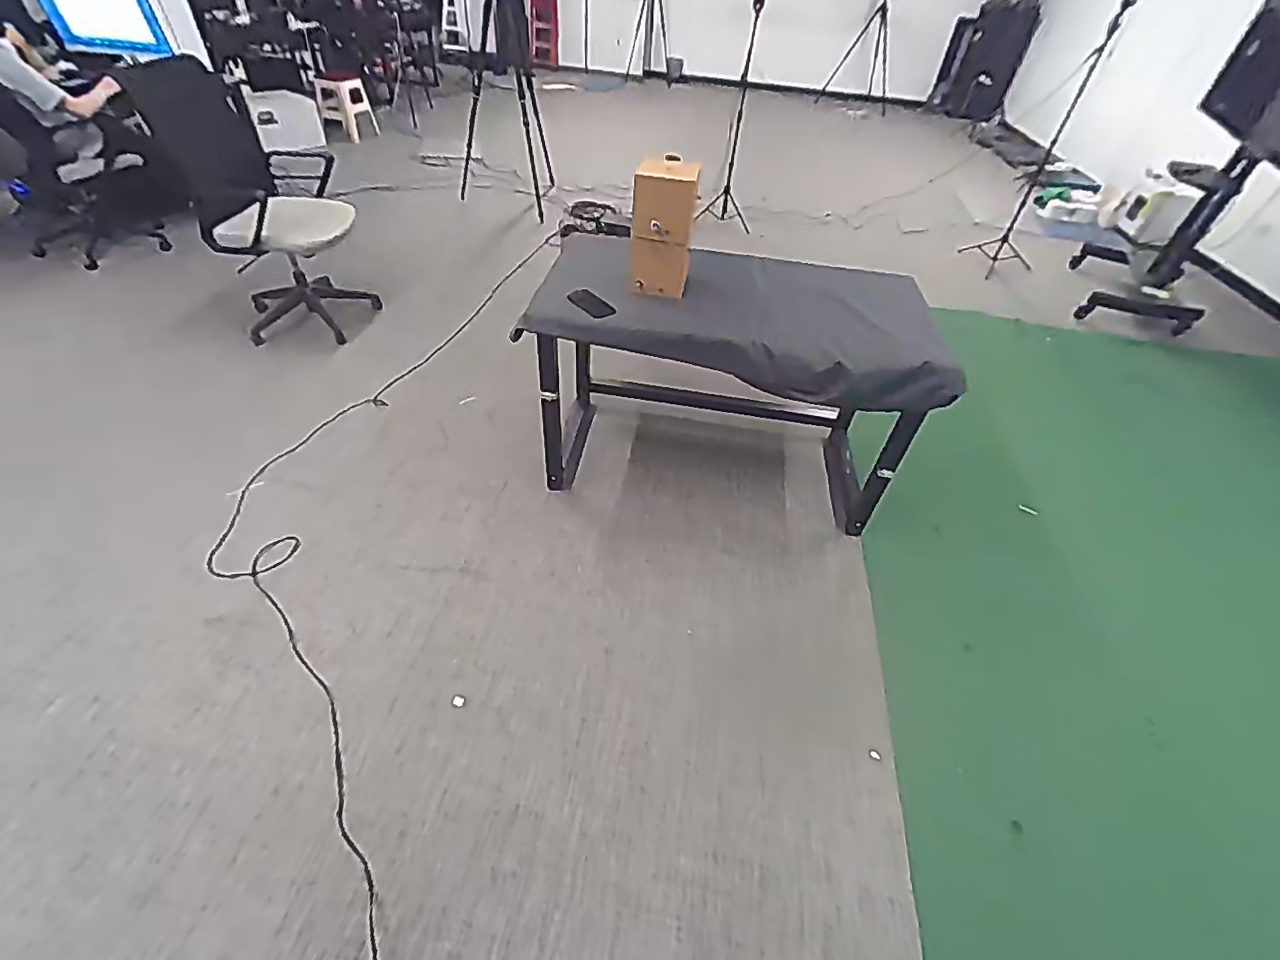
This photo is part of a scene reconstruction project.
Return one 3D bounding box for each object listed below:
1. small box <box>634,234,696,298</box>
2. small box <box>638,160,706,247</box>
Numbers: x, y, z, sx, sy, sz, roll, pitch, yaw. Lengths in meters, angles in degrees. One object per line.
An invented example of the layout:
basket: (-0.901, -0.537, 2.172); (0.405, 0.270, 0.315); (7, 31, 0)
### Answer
small box: (0.076, -0.678, 1.659); (0.168, 0.176, 0.179); (10, 44, 4)
small box: (0.088, -0.789, 1.542); (0.168, 0.176, 0.179); (9, 45, 4)
